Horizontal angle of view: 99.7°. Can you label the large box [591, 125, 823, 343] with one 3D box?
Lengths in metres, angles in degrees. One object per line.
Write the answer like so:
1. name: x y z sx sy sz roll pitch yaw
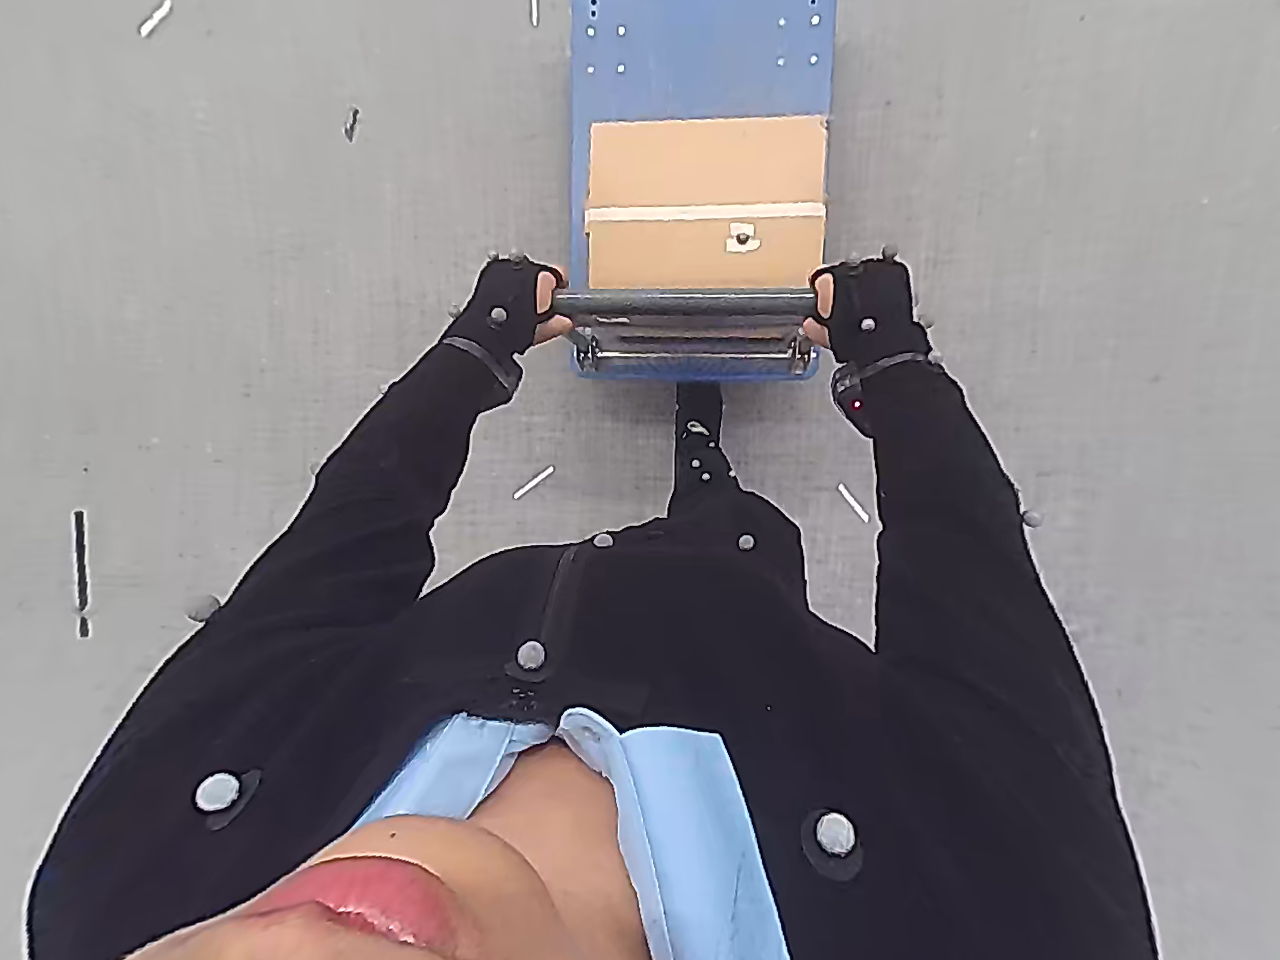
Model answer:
1. large box: 0.121 -0.460 1.087 0.408 0.320 0.320 1 95 4
